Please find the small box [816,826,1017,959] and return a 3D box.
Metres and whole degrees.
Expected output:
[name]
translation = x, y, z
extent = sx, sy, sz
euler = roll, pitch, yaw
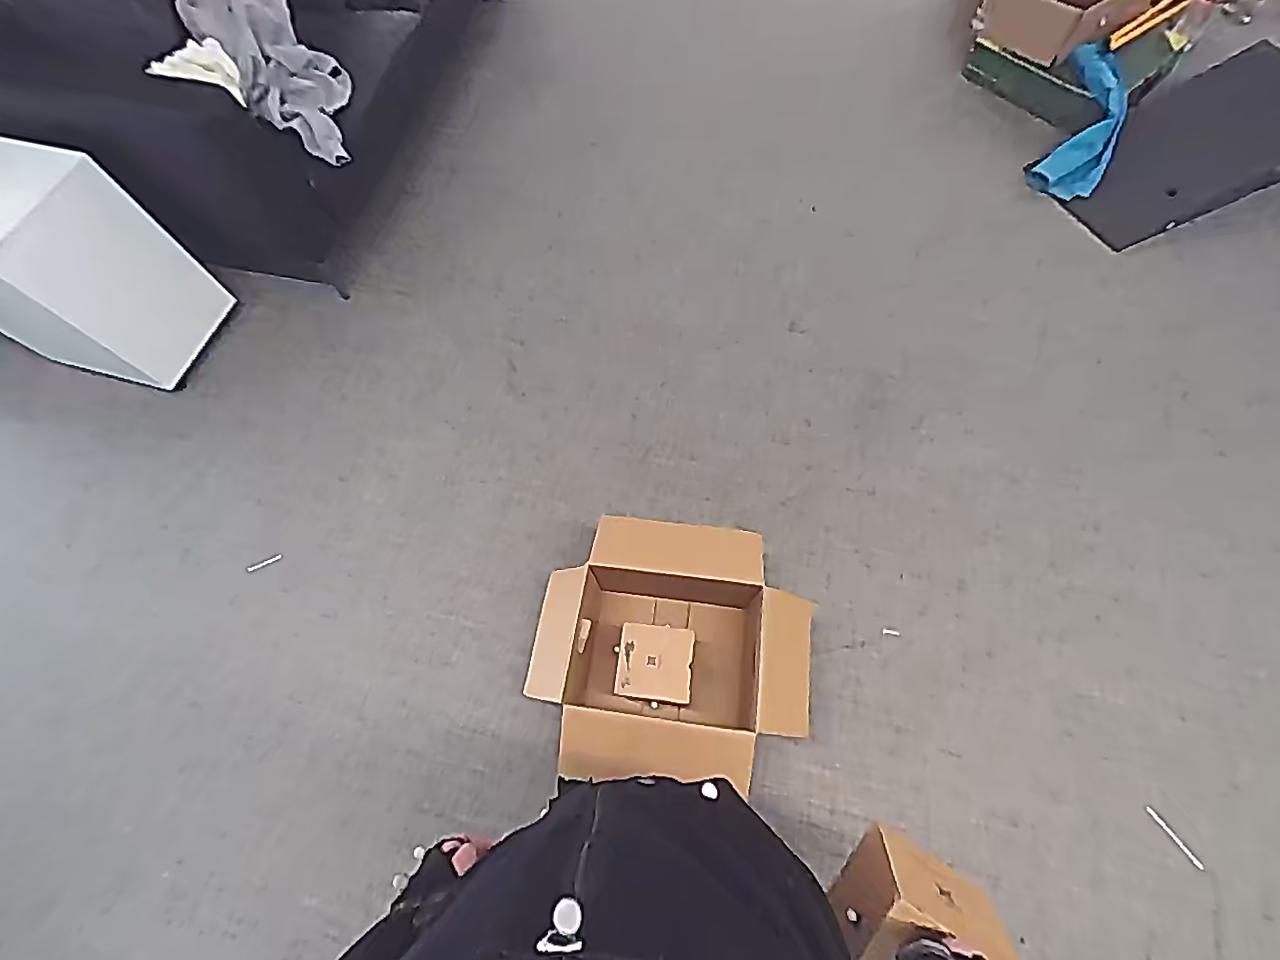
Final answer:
[small box]
translation = 0.340, 0.600, 0.681
extent = 0.168, 0.179, 0.176
euler = 31, 91, 16
